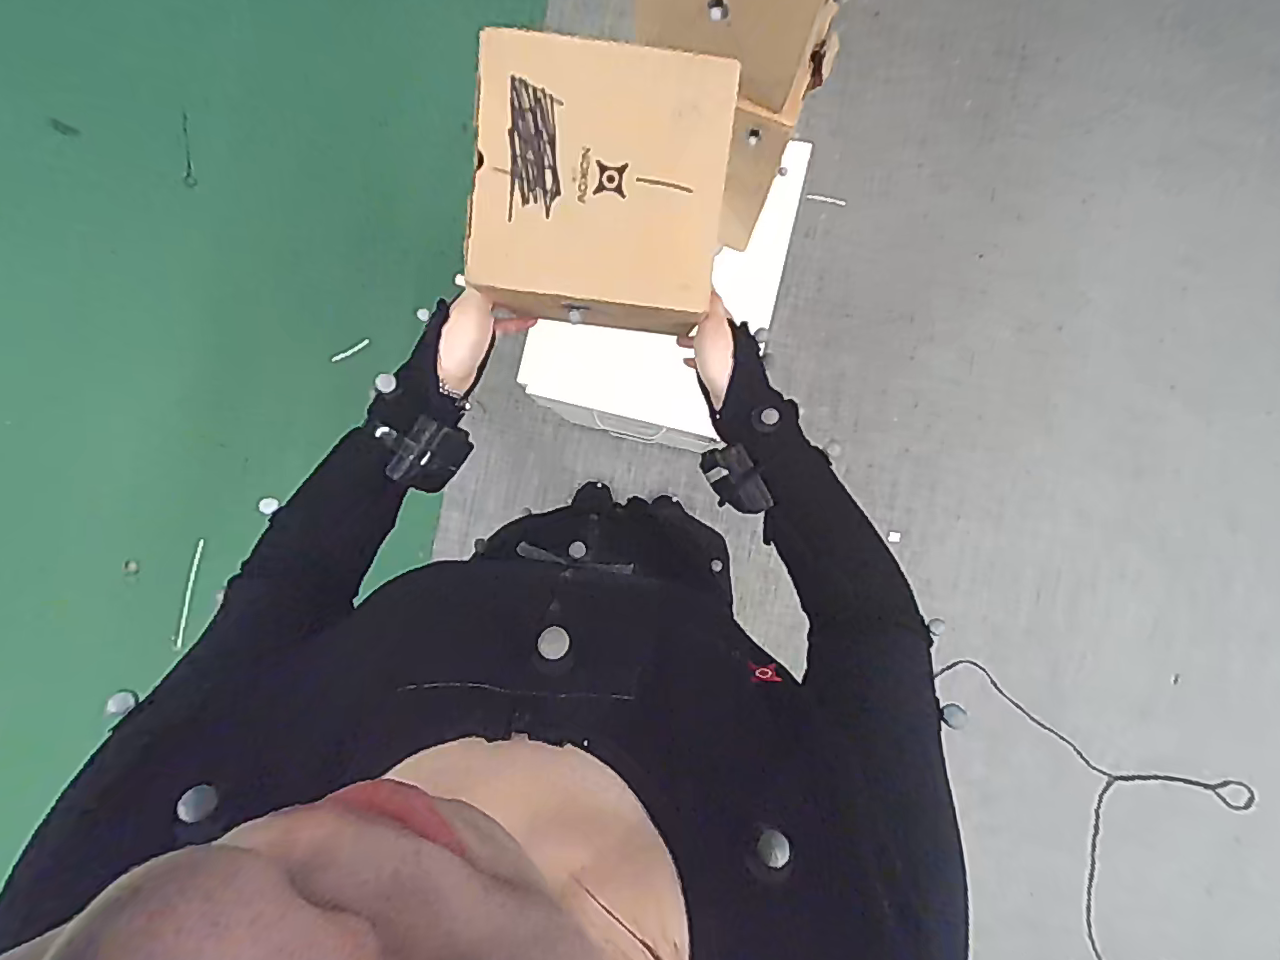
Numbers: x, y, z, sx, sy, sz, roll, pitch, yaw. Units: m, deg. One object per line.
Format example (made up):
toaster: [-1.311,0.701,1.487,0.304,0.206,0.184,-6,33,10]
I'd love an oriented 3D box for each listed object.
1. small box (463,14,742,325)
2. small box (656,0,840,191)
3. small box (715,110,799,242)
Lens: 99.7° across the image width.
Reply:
small box: [-0.029,-0.229,0.447,0.179,0.176,0.168,7,100,-2]
small box: [0.115,-0.493,0.665,0.179,0.176,0.168,20,91,0]
small box: [0.122,-0.495,0.827,0.179,0.176,0.168,21,91,1]
